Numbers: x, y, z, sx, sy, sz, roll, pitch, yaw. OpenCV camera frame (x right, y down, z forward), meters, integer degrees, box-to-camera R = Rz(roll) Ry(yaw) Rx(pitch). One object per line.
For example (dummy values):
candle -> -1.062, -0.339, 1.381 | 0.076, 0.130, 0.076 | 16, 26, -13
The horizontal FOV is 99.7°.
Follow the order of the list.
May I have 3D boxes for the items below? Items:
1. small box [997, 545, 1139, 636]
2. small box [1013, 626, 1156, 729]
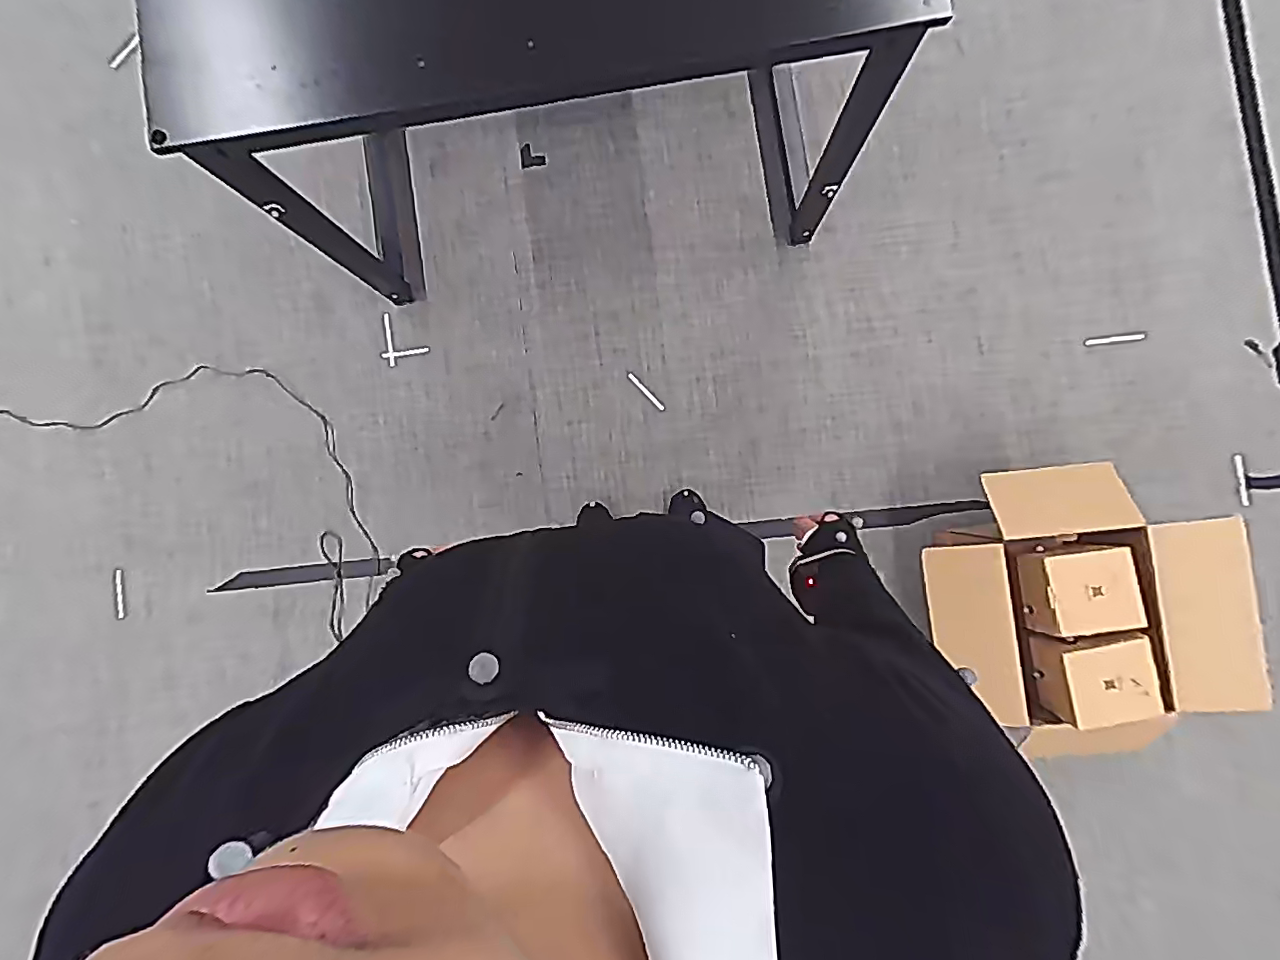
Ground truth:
small box -> 0.927, 0.237, 1.193 | 0.179, 0.176, 0.168 | -9, 85, 1
small box -> 0.958, 0.414, 1.186 | 0.179, 0.176, 0.168 | -13, 92, 3
